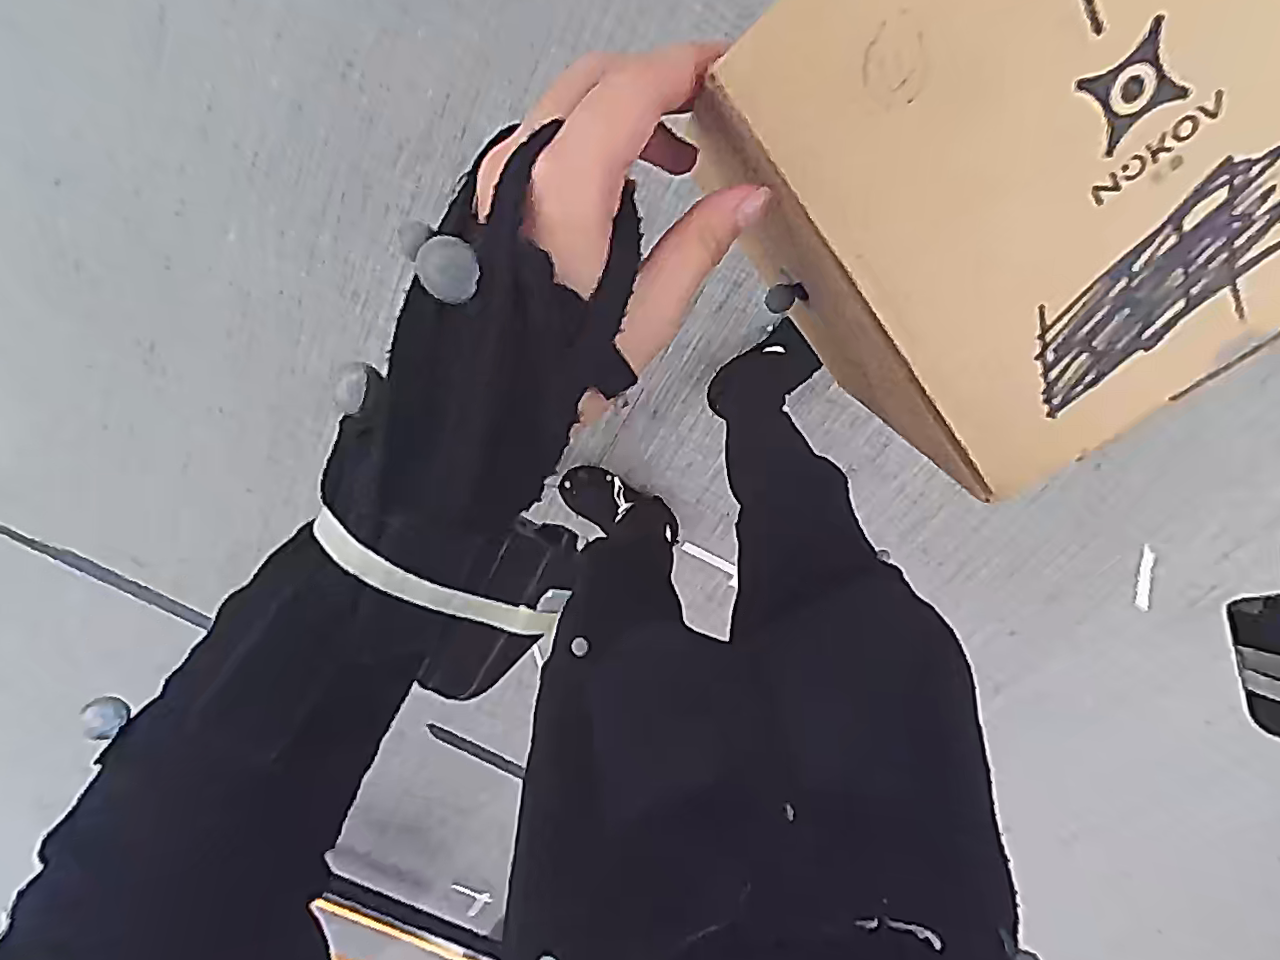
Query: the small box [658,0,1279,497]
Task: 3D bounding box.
[{"bbox_3d":[0.123,-0.132,0.215,0.168,0.176,0.179,-38,108,16],"label":"small box"}]
